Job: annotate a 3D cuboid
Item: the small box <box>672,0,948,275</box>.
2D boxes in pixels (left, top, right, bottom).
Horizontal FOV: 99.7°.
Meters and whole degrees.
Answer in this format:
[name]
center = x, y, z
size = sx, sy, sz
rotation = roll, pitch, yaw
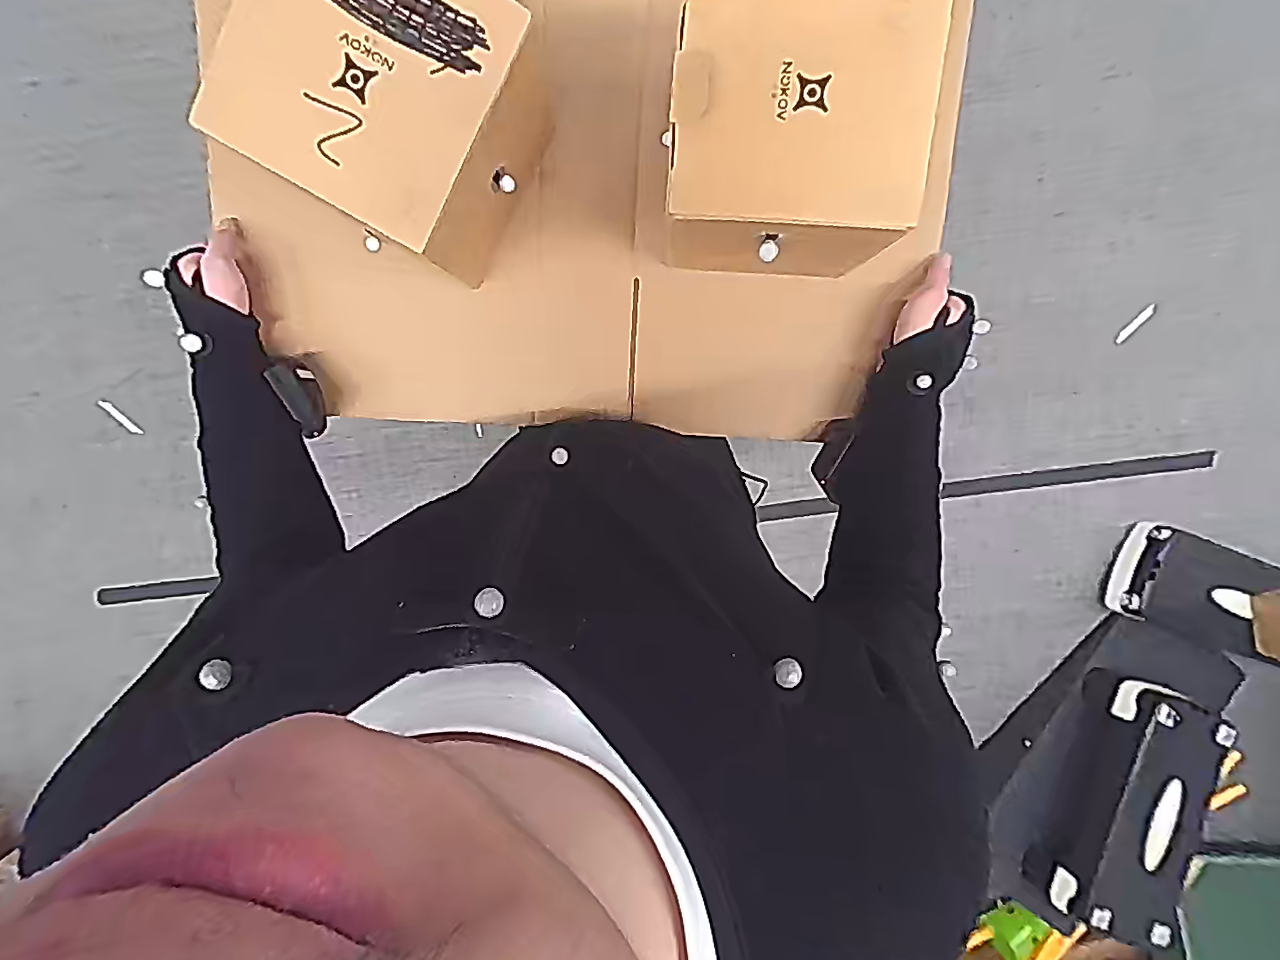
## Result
[small box]
center = 0.121, -0.277, 0.457
size = 0.179, 0.176, 0.168
rotation = 4, 100, 4
